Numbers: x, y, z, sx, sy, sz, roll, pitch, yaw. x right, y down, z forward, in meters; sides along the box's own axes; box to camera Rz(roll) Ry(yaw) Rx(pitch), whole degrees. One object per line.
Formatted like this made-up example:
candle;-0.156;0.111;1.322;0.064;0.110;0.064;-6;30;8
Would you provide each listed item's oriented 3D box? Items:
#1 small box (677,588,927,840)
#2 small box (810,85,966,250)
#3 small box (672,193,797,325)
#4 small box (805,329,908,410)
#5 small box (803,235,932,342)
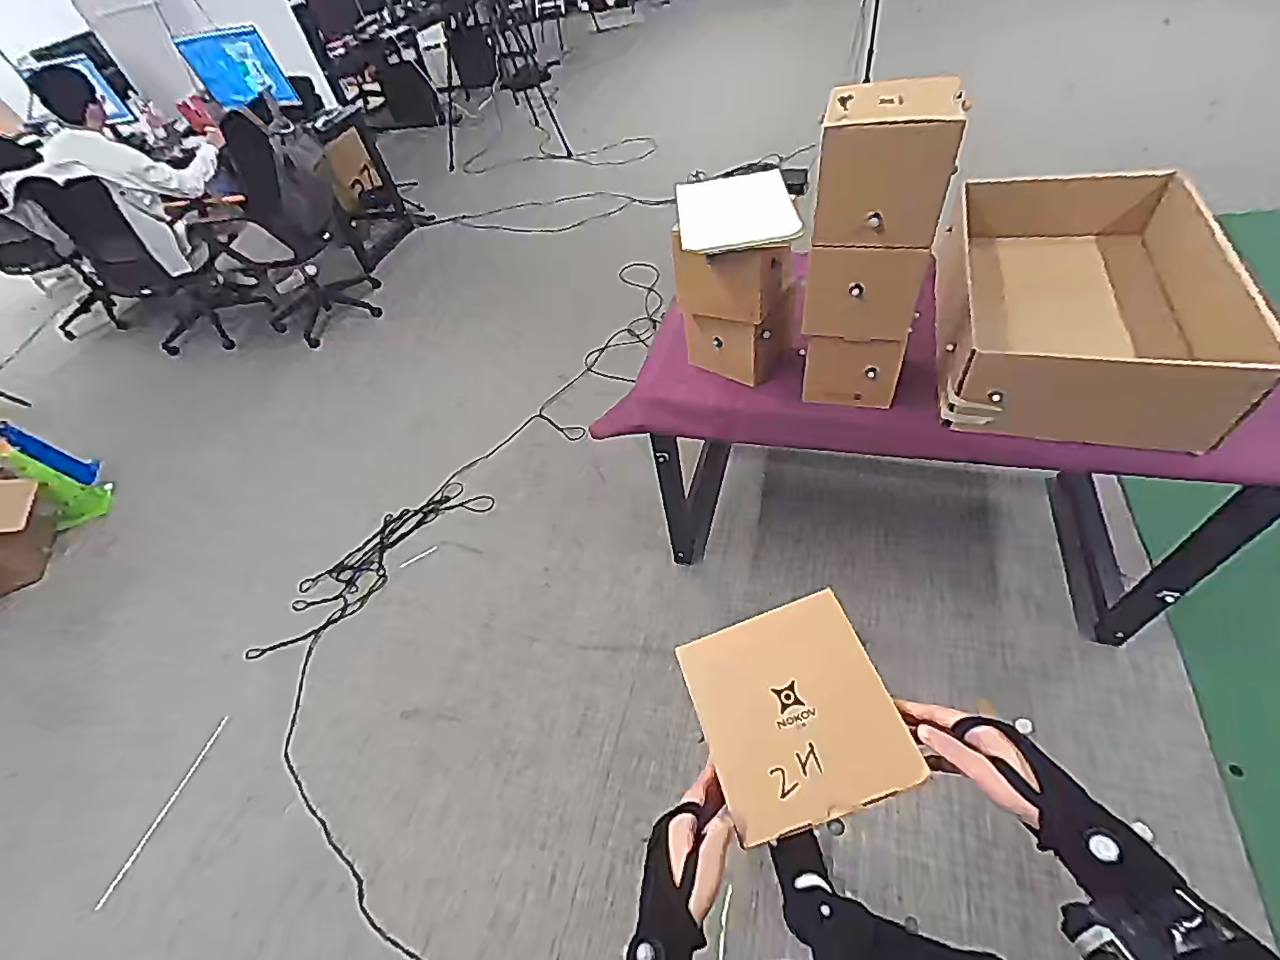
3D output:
small box;0.152;0.241;0.549;0.168;0.176;0.179;-22;56;3
small box;0.361;-0.461;0.808;0.179;0.176;0.168;9;51;17
small box;0.183;-0.417;1.027;0.179;0.176;0.168;19;56;26
small box;0.420;-0.257;1.057;0.168;0.176;0.179;9;51;18
small box;0.386;-0.355;0.931;0.179;0.176;0.168;9;51;18
